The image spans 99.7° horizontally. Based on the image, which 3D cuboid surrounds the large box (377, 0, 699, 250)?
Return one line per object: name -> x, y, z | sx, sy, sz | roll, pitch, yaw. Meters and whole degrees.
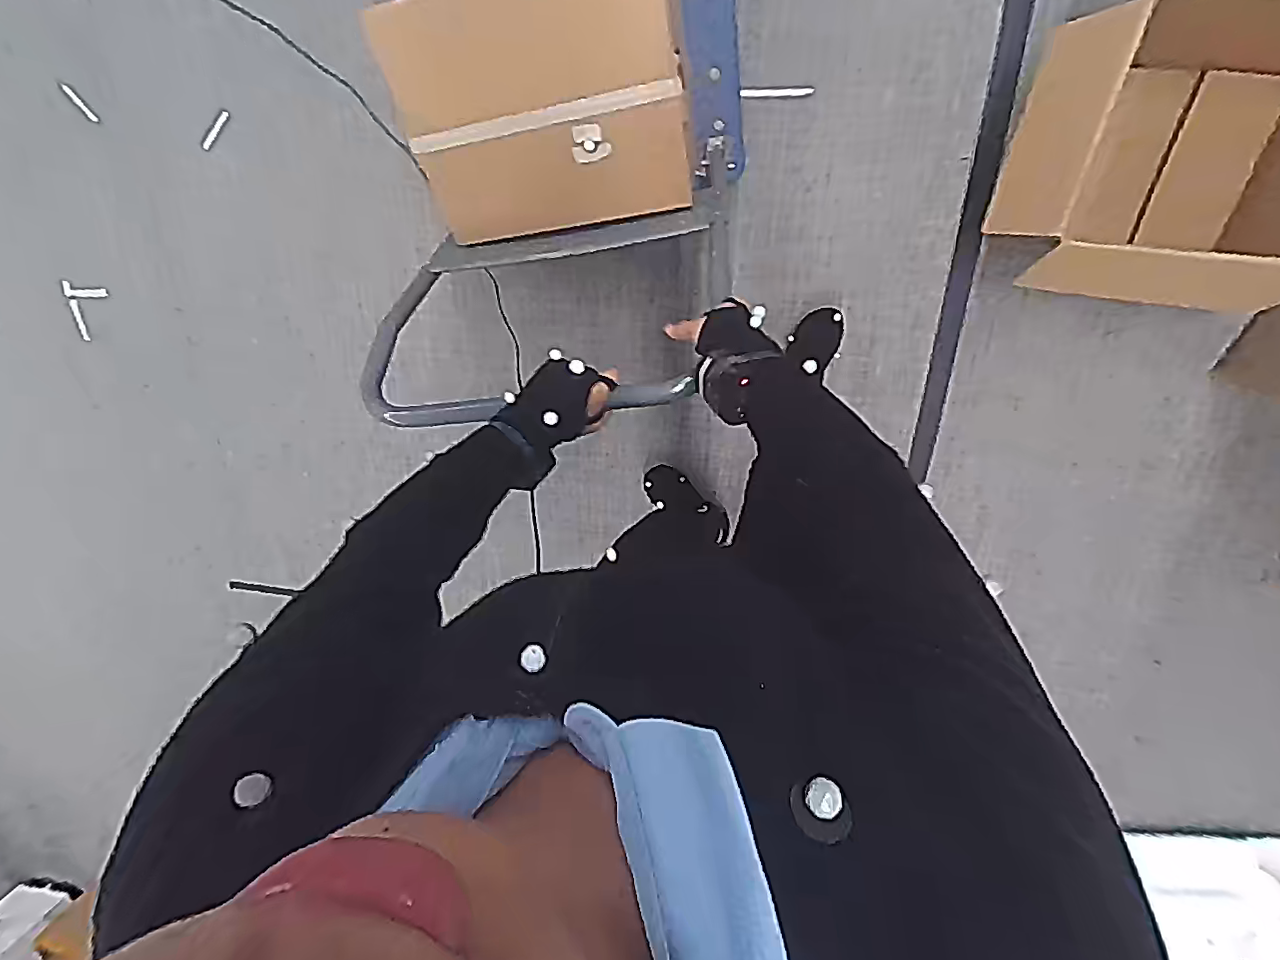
large box -> -0.123, -0.622, 0.893 | 0.408, 0.320, 0.320 | -4, 133, 12
